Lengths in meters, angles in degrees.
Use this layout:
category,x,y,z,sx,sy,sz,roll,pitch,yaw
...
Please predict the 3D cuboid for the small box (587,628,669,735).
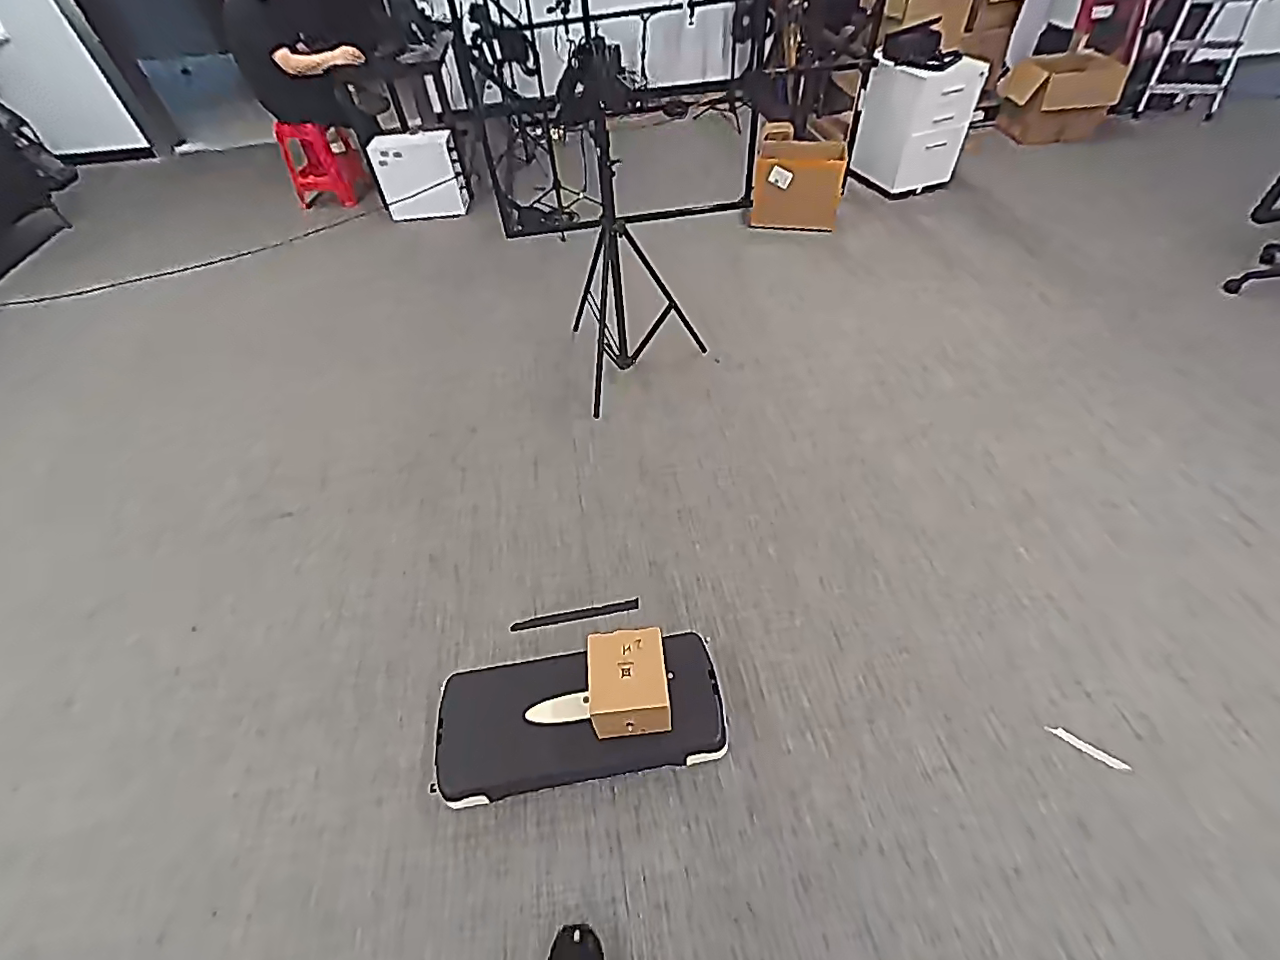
category,x,y,z,sx,sy,sz,roll,pitch,yaw
small box,-0.025,0.454,1.203,0.168,0.176,0.179,-6,48,-1
